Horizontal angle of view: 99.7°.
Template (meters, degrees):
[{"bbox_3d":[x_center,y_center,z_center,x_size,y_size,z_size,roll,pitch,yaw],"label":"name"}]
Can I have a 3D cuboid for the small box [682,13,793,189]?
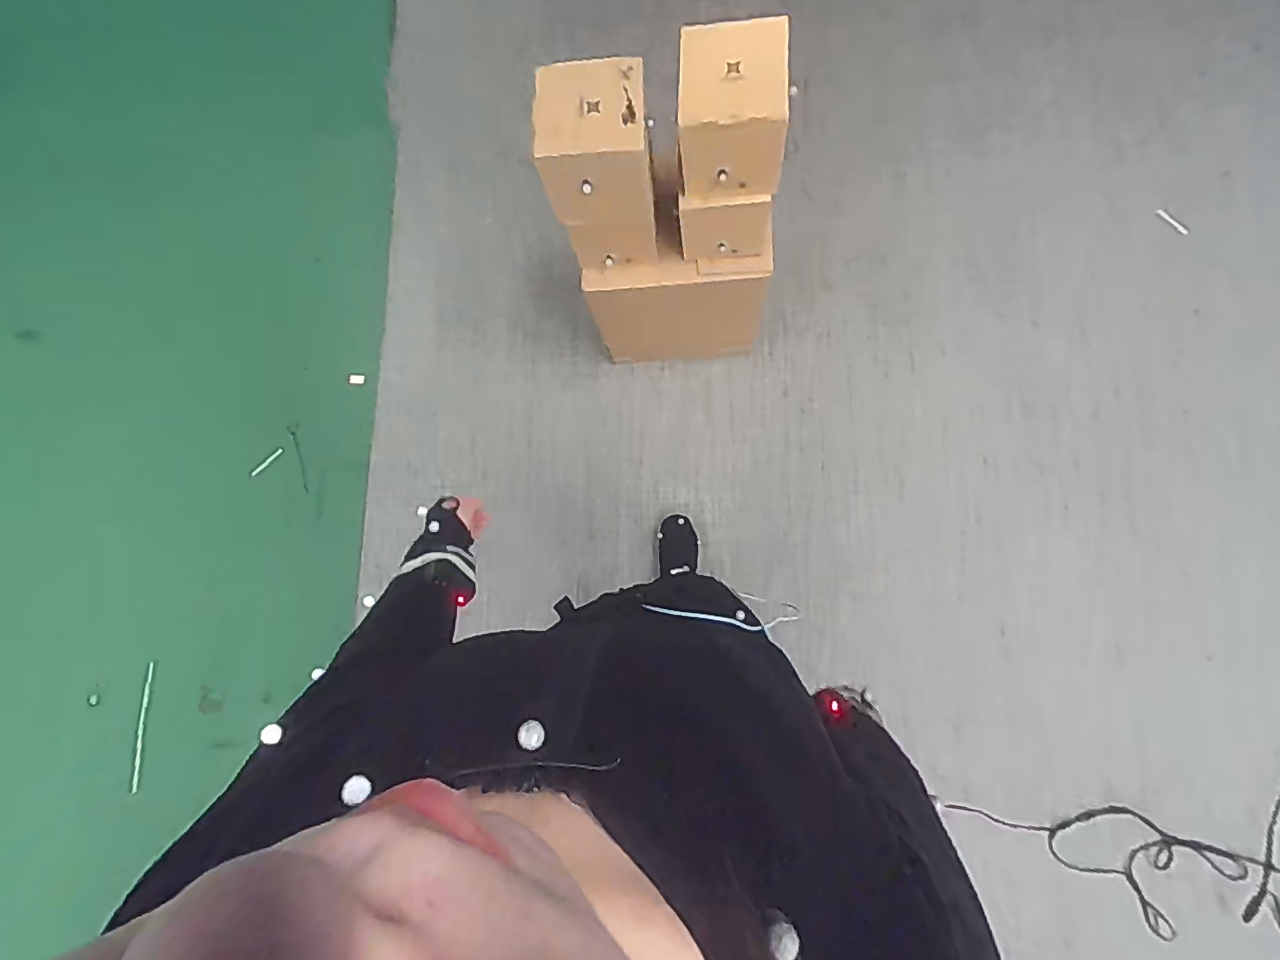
[{"bbox_3d":[0.157,-0.619,0.901,0.168,0.176,0.179,2,82,8],"label":"small box"}]
